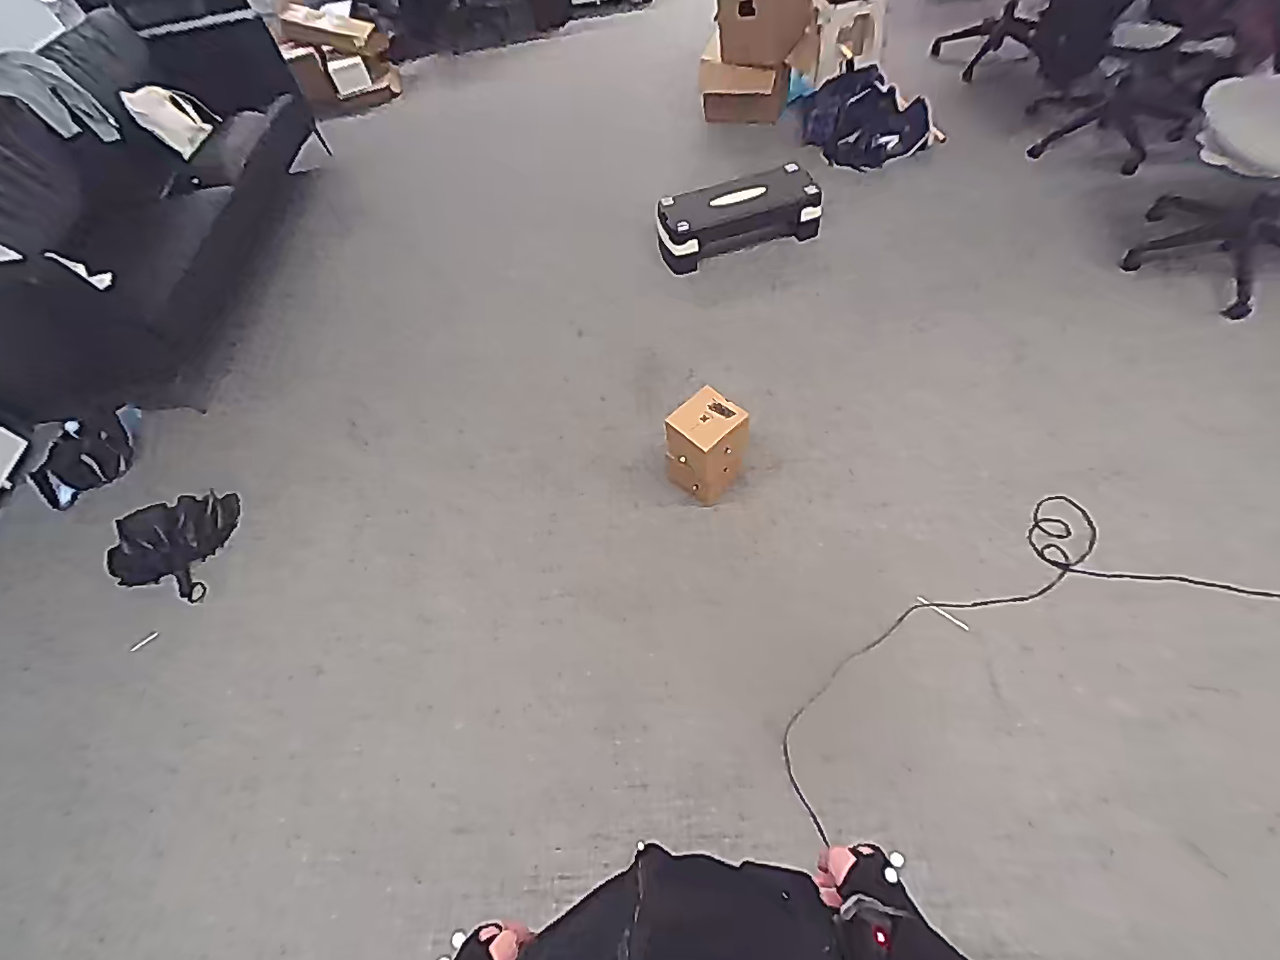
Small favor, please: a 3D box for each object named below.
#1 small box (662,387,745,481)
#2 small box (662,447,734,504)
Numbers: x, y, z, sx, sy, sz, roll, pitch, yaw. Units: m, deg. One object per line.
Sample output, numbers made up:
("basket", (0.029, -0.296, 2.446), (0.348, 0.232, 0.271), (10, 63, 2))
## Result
("small box", (0.185, -0.131, 1.579), (0.179, 0.176, 0.168), (-40, 61, -16))
("small box", (0.192, -0.055, 1.725), (0.168, 0.176, 0.179), (33, 67, 25))
